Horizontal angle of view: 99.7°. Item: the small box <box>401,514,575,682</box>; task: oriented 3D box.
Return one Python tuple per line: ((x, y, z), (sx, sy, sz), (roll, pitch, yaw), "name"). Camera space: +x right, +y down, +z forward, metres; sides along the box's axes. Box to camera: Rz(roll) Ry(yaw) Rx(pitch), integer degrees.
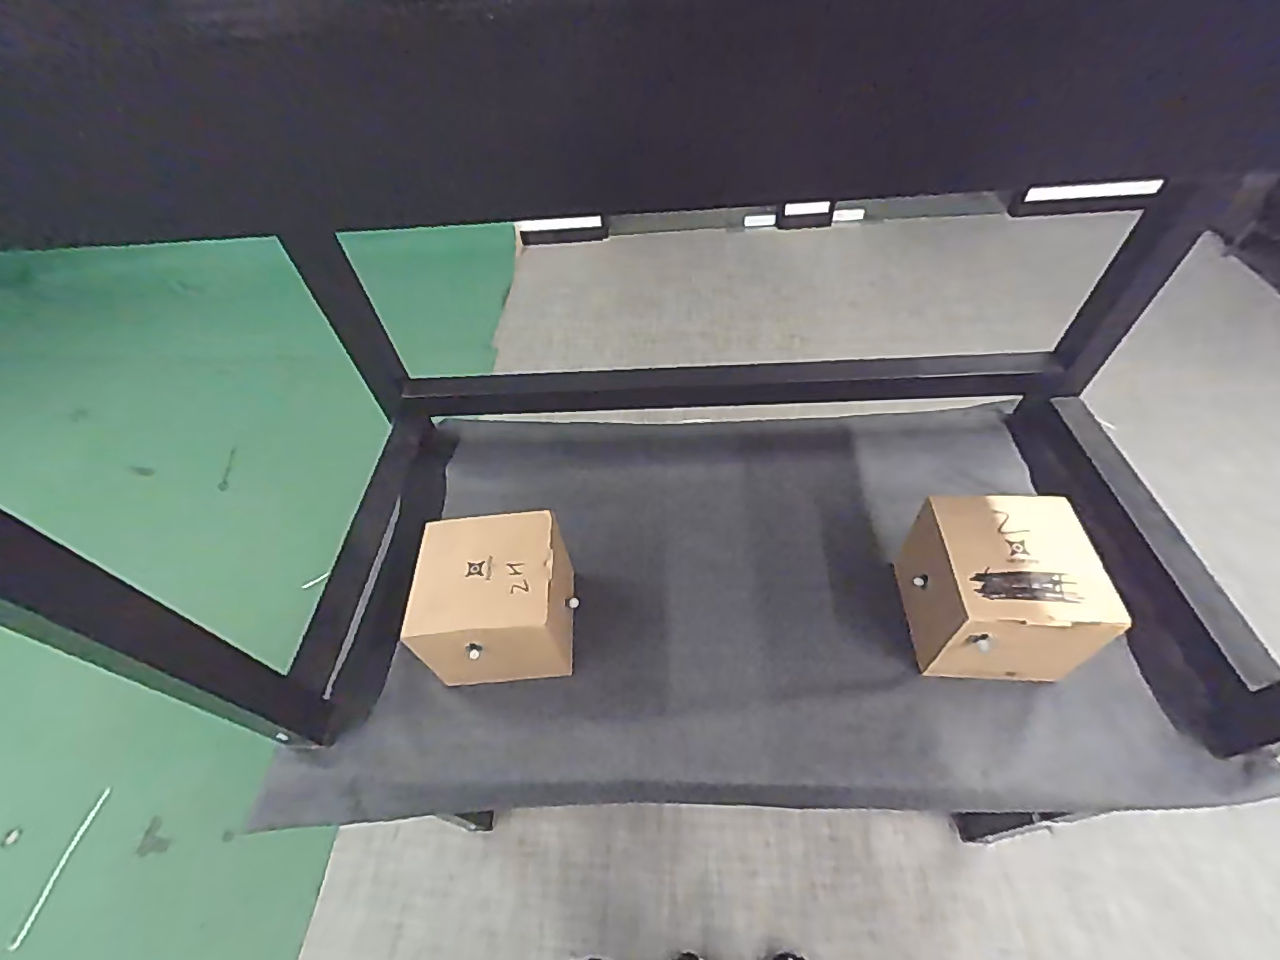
((-0.193, 0.167, 0.742), (0.179, 0.176, 0.168), (-5, 51, 1), "small box")
